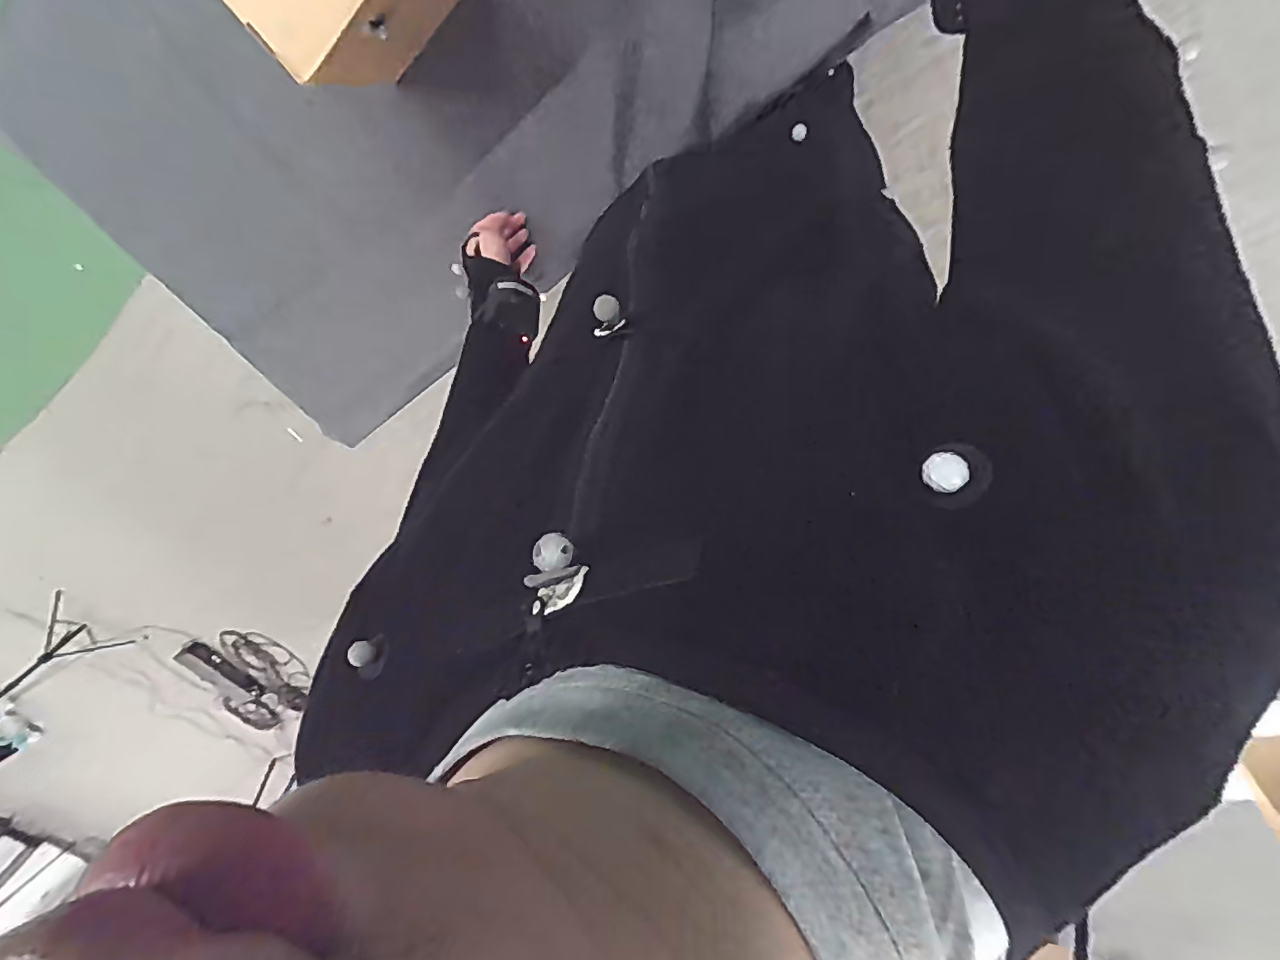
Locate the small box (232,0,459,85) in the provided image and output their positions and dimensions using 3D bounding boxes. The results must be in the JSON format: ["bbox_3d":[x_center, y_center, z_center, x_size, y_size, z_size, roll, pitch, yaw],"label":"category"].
[{"bbox_3d":[-0.276,-0.500,0.490,0.179,0.176,0.168,-28,118,28],"label":"small box"}]

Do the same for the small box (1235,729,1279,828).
[{"bbox_3d":[1.438,0.648,1.157,0.179,0.176,0.168,-27,117,28],"label":"small box"}]
